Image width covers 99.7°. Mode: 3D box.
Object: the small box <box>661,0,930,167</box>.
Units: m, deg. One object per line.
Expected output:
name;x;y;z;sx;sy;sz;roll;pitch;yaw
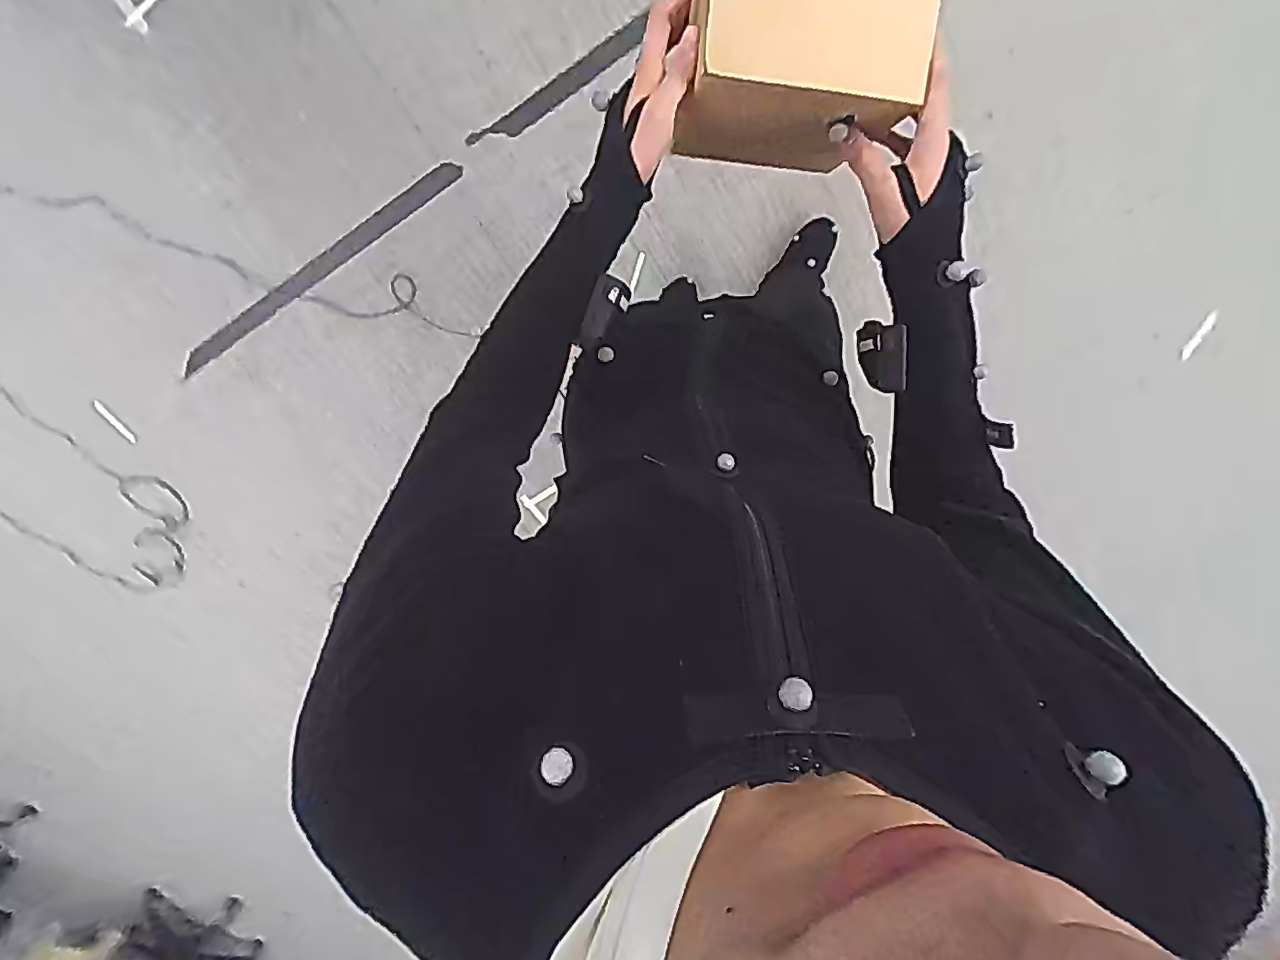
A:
small box;0.120;-0.385;0.457;0.179;0.176;0.168;3;102;-5
